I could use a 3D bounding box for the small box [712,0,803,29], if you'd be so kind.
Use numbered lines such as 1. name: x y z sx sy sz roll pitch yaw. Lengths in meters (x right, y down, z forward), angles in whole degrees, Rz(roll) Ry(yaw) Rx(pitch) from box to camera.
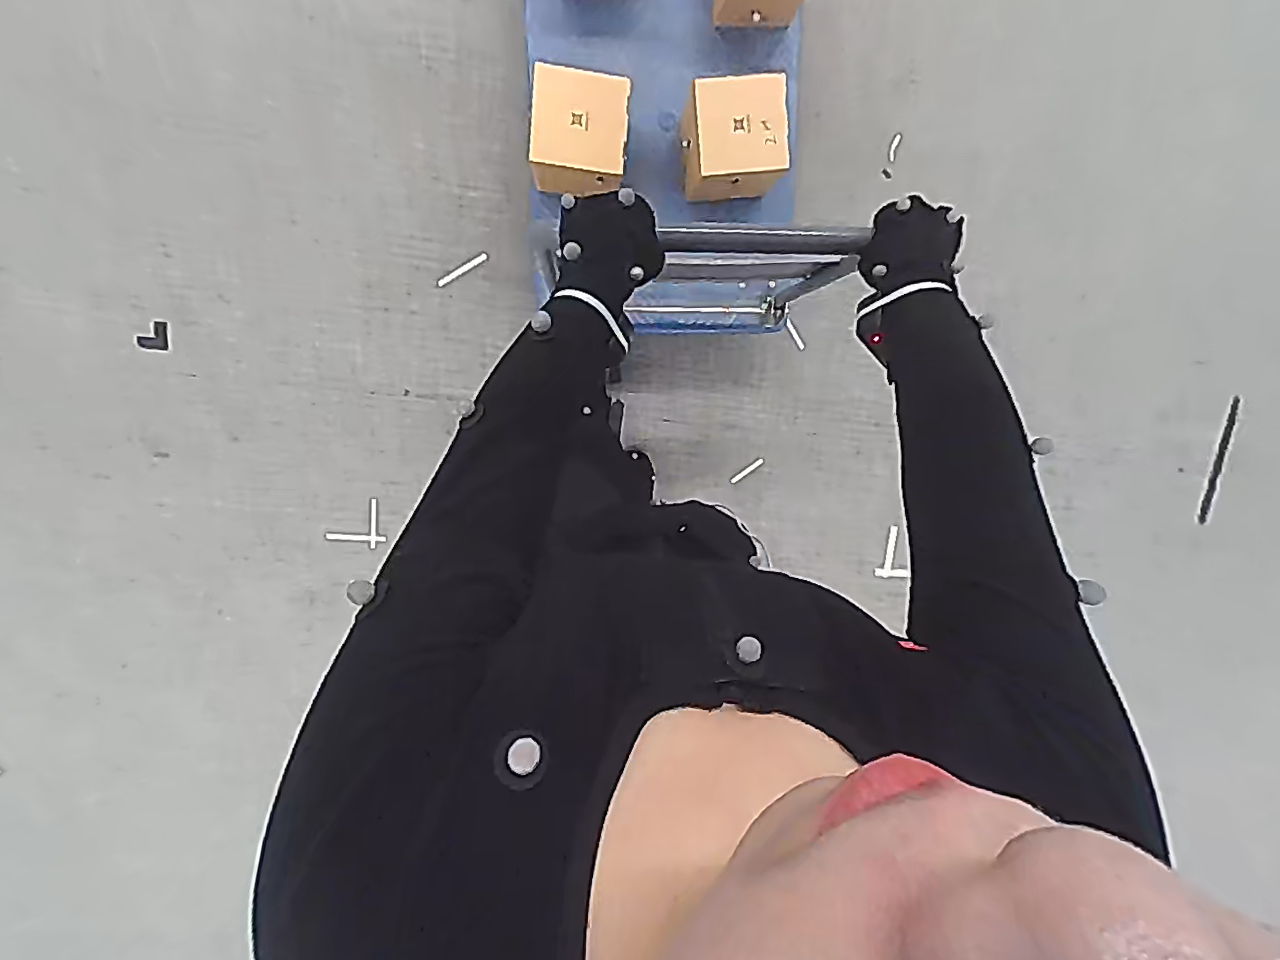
1. small box: 0.236 -1.016 1.036 0.168 0.176 0.179 -4 103 -5

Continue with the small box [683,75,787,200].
1. small box: 0.185 -0.686 1.100 0.179 0.176 0.168 -7 102 -4

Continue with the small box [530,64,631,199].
1. small box: -0.119 -0.677 1.072 0.179 0.176 0.168 4 101 -8
